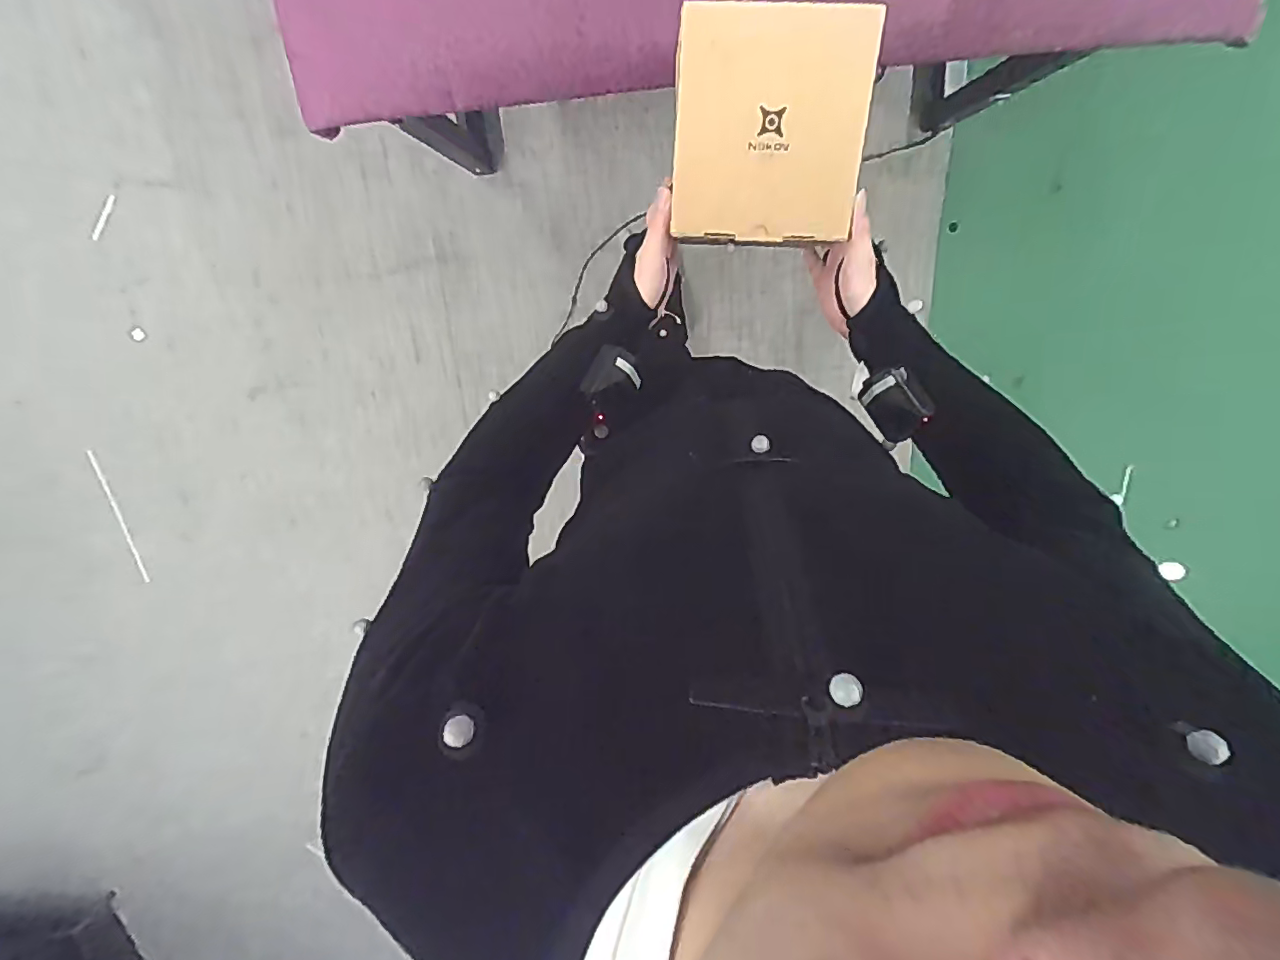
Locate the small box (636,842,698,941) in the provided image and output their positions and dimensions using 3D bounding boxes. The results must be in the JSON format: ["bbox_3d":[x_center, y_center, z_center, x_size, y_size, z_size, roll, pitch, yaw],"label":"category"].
[{"bbox_3d":[0.074,1.174,1.551,0.168,0.176,0.179,1,111,1],"label":"small box"}]

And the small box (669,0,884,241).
[{"bbox_3d":[0.116,-0.340,0.542,0.168,0.176,0.179,3,113,2],"label":"small box"}]
